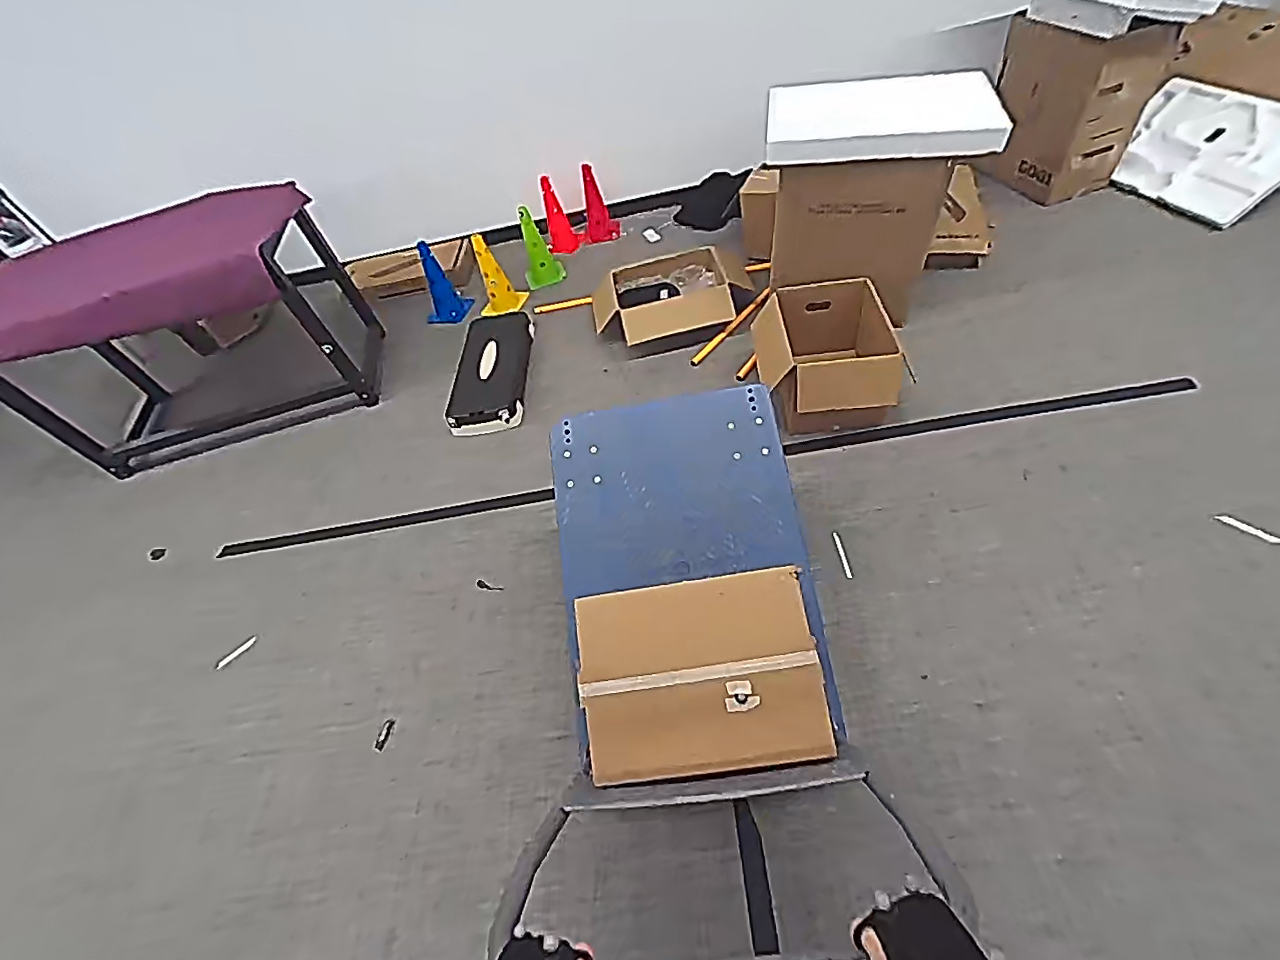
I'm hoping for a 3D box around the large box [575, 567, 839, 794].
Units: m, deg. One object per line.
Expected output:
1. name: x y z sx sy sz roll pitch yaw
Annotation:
1. large box: 0.115 0.374 1.053 0.408 0.320 0.320 -10 74 3
